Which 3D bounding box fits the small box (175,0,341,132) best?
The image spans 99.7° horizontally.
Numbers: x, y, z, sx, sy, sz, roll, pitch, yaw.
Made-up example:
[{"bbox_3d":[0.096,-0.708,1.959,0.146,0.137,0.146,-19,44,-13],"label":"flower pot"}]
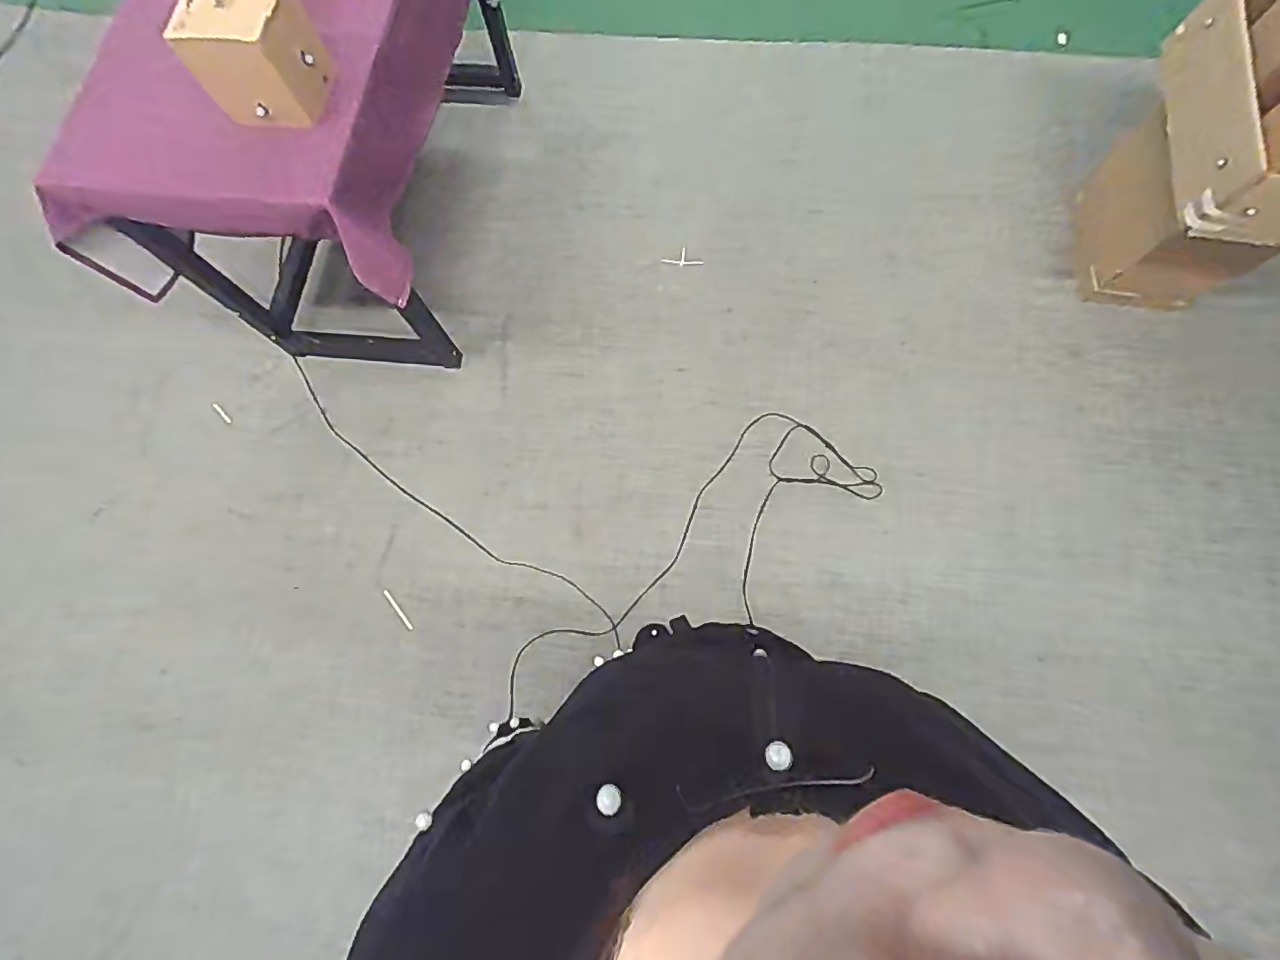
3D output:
[{"bbox_3d":[-0.711,-0.800,1.031,0.179,0.176,0.168,6,74,4],"label":"small box"}]
